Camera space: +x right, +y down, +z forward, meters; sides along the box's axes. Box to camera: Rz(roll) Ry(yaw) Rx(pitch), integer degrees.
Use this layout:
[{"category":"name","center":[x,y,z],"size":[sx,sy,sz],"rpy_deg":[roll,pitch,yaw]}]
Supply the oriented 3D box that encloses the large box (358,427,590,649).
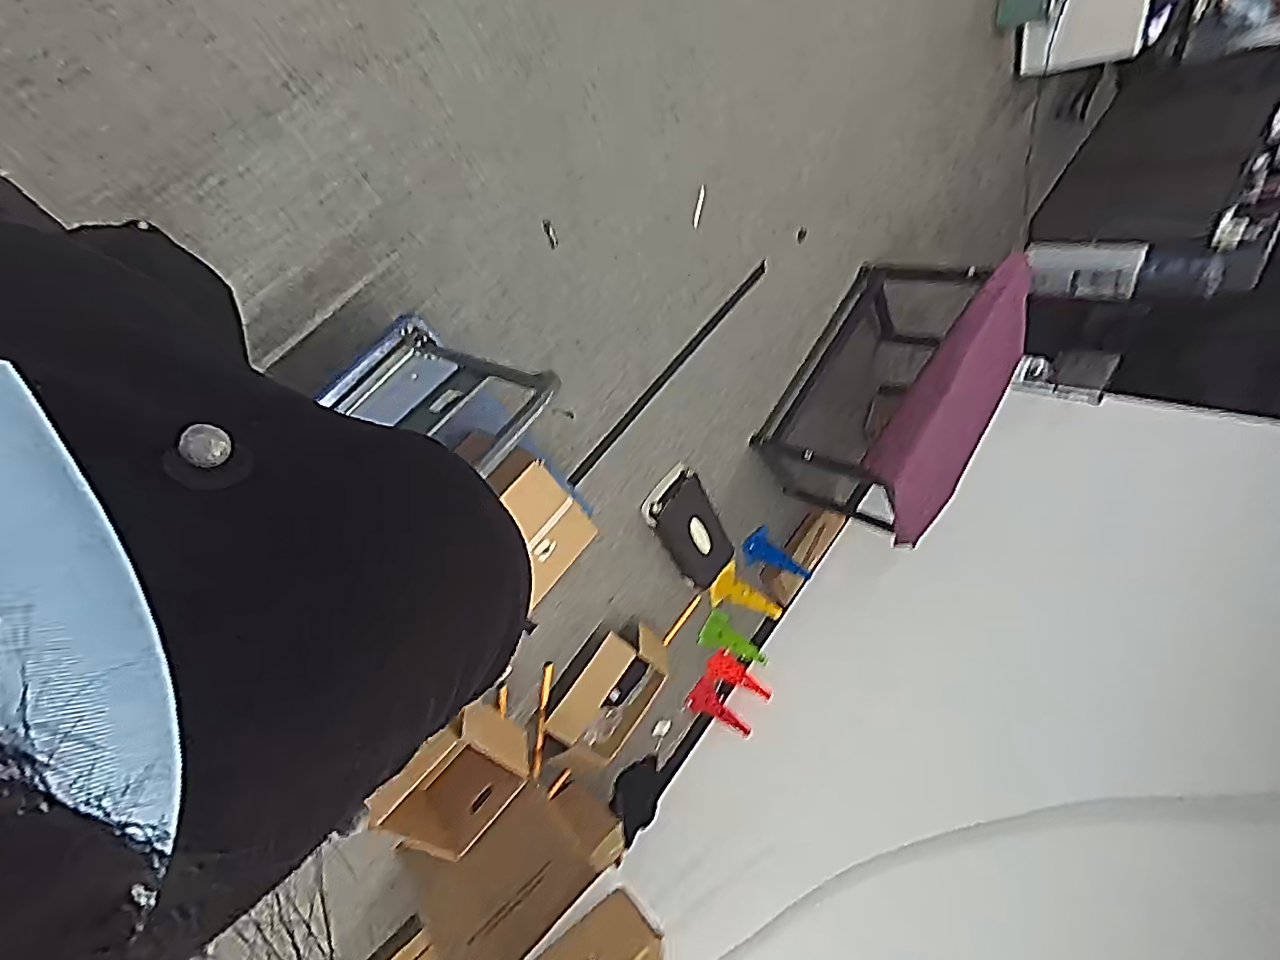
[{"category":"large box","center":[-0.412,0.135,1.373],"size":[0.408,0.320,0.320],"rpy_deg":[-50,136,-17]}]
